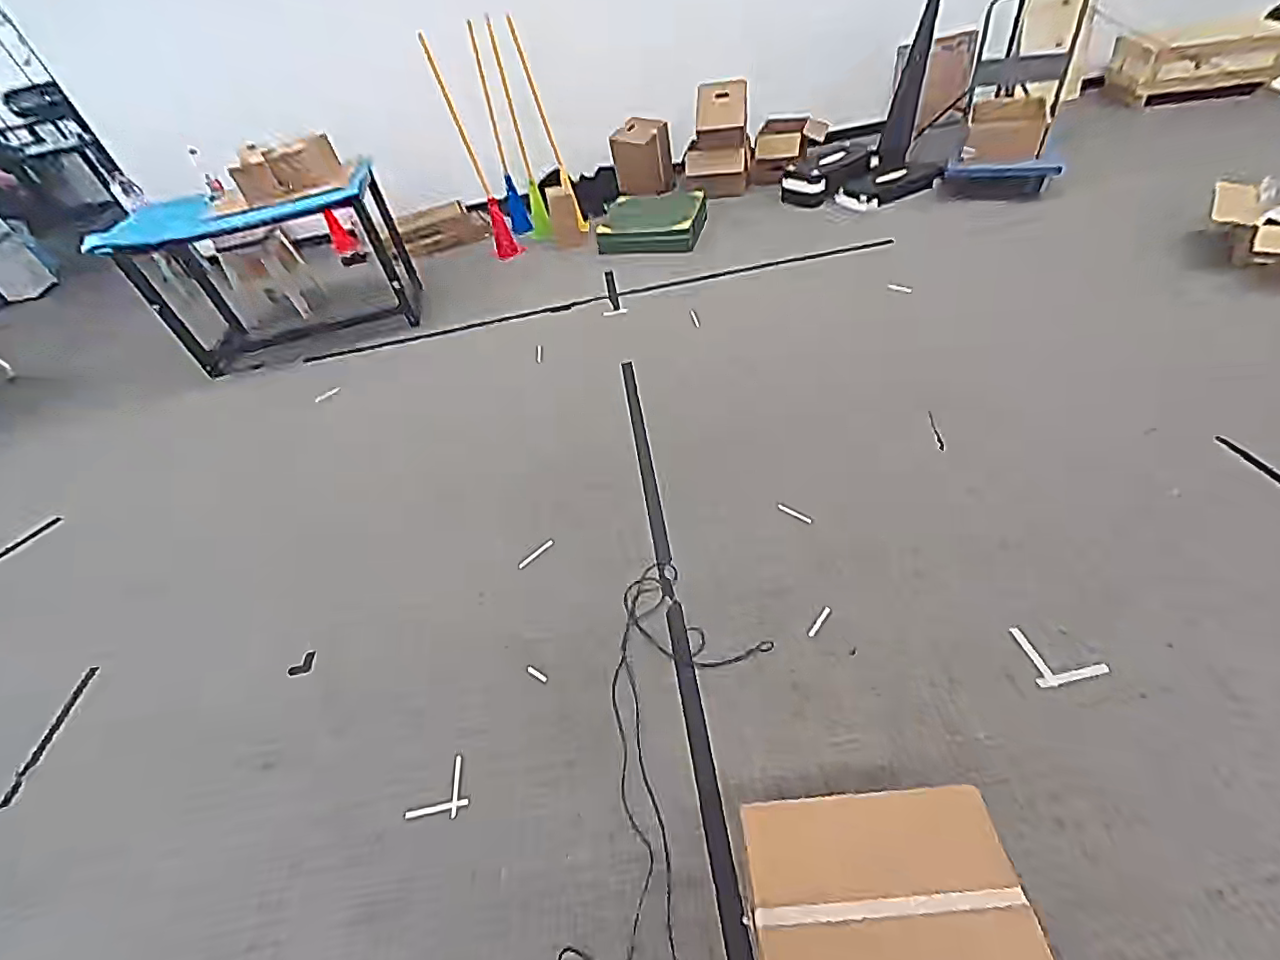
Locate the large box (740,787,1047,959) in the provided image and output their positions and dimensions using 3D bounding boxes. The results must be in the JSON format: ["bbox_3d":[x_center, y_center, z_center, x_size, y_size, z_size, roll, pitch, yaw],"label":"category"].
[{"bbox_3d":[0.400,0.765,0.932,0.408,0.320,0.320,-7,43,4],"label":"large box"}]
